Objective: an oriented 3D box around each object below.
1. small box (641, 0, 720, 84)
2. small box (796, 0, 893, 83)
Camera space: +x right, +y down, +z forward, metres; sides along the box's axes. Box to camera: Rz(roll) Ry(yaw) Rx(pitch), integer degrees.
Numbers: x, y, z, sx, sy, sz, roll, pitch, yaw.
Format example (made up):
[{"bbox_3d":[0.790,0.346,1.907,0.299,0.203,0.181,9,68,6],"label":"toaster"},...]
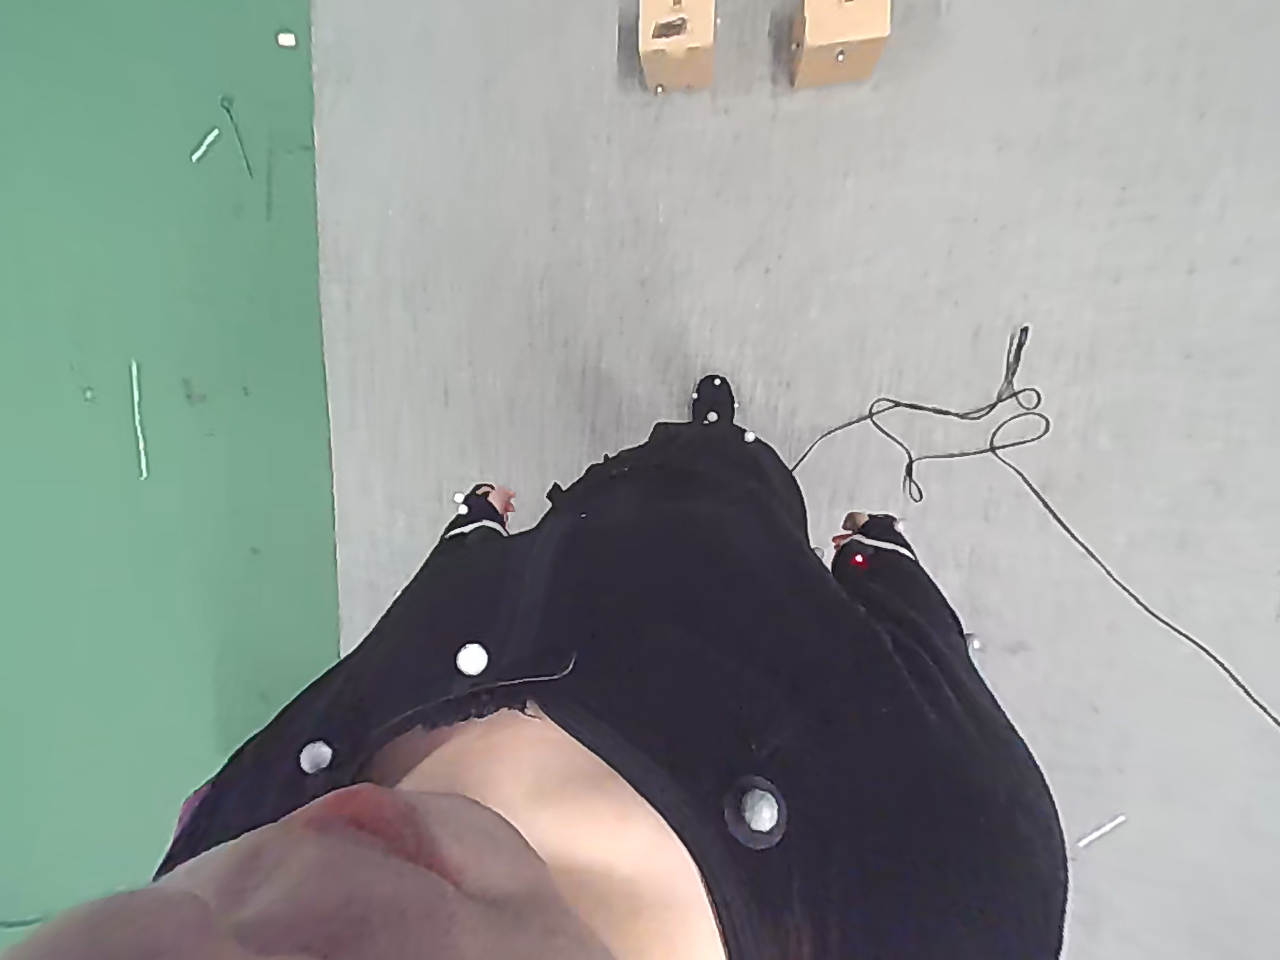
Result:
[{"bbox_3d":[0.097,-1.048,1.245,0.168,0.176,0.179,3,98,8],"label":"small box"},{"bbox_3d":[0.446,-1.018,1.199,0.179,0.176,0.168,0,99,8],"label":"small box"}]
